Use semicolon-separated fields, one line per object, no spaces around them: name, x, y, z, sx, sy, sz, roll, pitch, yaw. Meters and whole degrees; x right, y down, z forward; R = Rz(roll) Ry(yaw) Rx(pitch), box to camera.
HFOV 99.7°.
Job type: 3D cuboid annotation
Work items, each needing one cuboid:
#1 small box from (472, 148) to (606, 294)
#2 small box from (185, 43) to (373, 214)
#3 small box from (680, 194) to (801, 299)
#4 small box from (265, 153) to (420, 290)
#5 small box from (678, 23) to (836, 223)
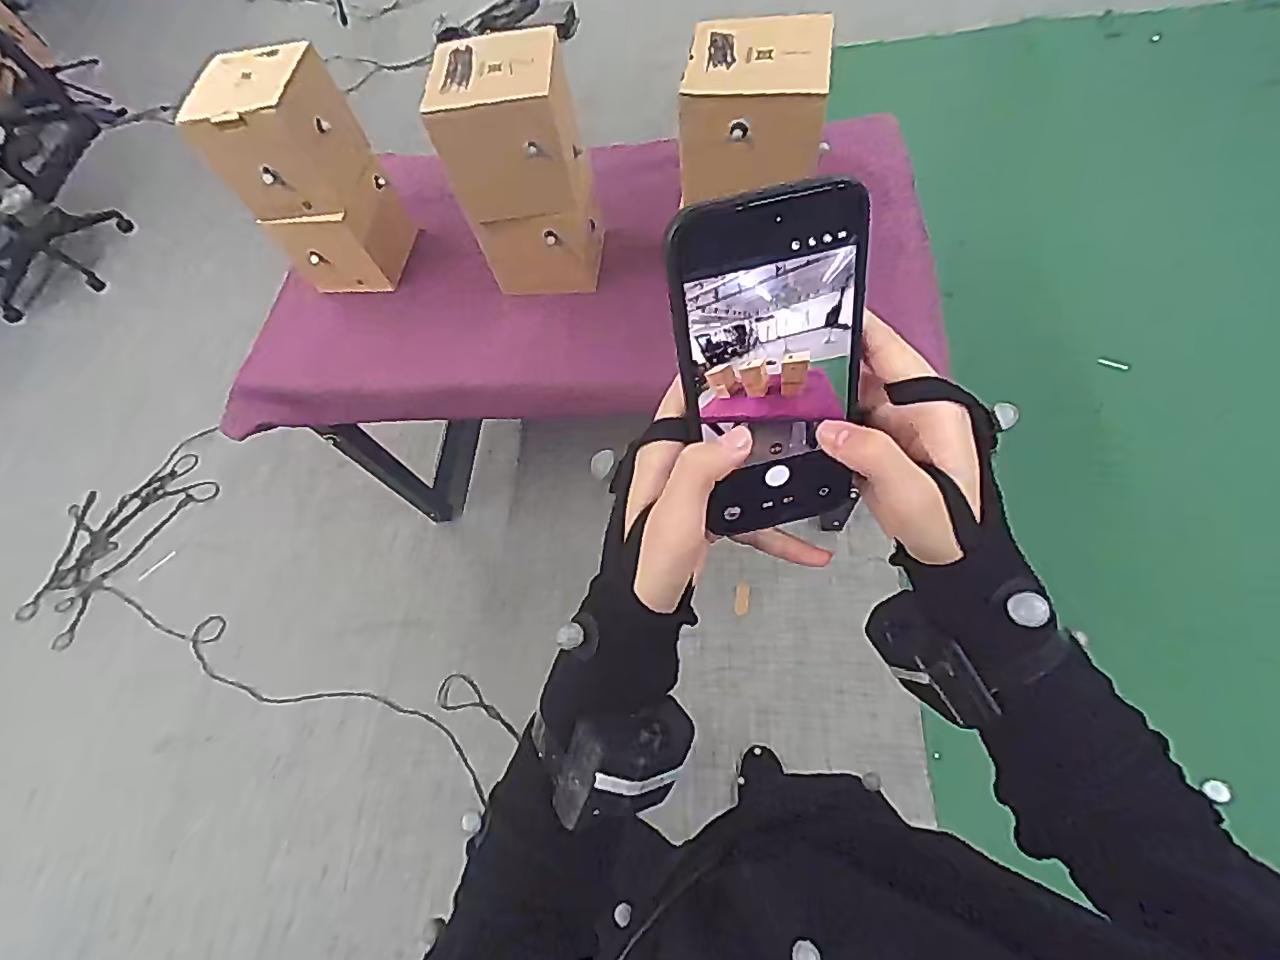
small box;-0.164;-0.446;0.948;0.179;0.176;0.168;2;65;9
small box;-0.567;-0.558;0.879;0.168;0.176;0.179;-2;65;7
small box;0.171;-0.419;0.888;0.179;0.176;0.168;8;65;13
small box;-0.546;-0.479;1.022;0.168;0.176;0.179;3;65;10
small box;0.156;-0.476;0.734;0.179;0.176;0.168;8;65;11
